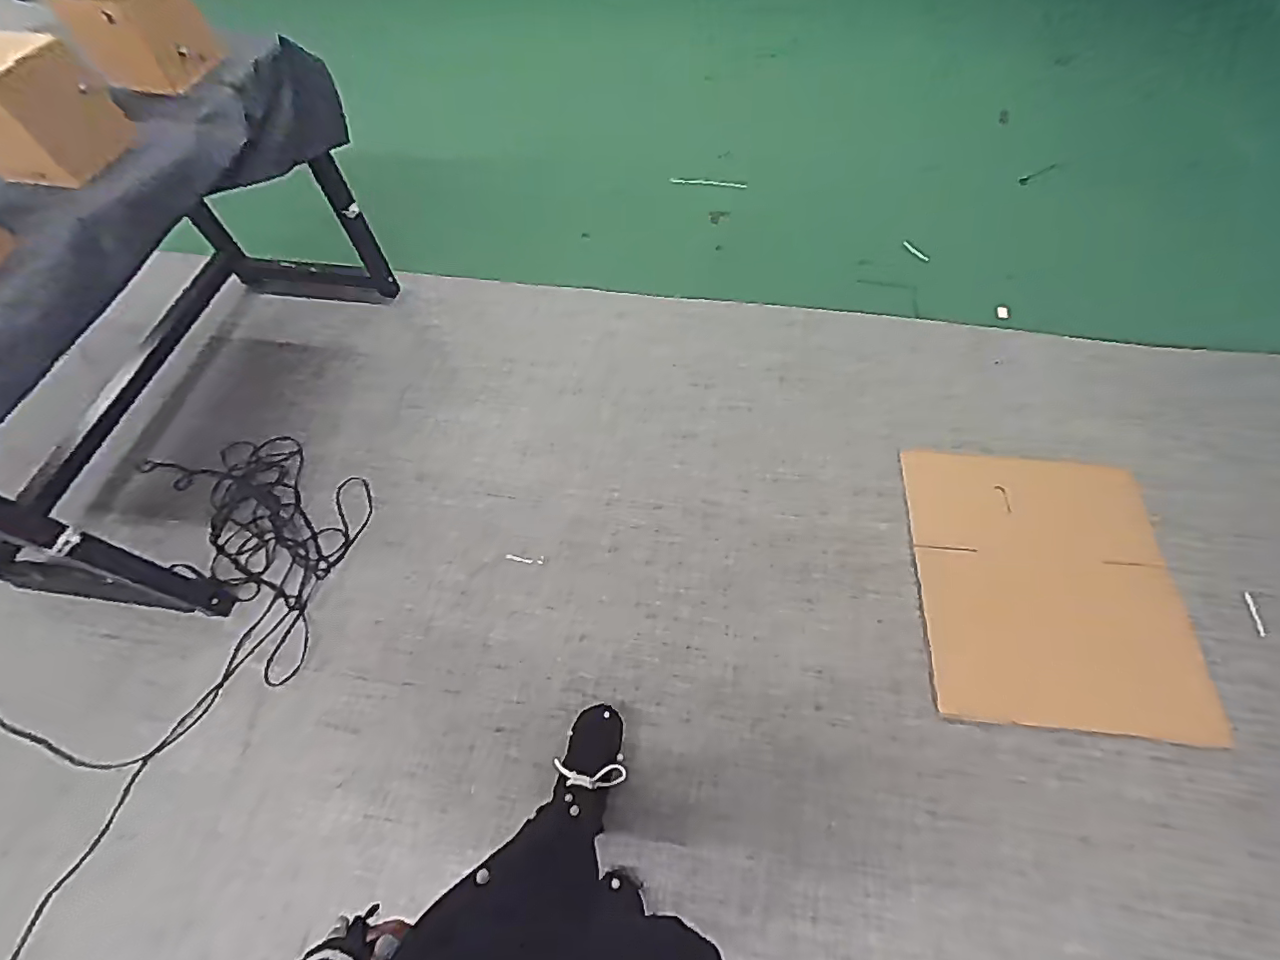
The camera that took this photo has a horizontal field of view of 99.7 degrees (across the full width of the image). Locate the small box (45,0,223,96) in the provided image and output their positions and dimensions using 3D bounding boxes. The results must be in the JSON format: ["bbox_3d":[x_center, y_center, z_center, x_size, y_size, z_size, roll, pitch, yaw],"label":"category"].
[{"bbox_3d":[-1.030,-0.925,1.113,0.179,0.176,0.168,10,62,7],"label":"small box"}]
